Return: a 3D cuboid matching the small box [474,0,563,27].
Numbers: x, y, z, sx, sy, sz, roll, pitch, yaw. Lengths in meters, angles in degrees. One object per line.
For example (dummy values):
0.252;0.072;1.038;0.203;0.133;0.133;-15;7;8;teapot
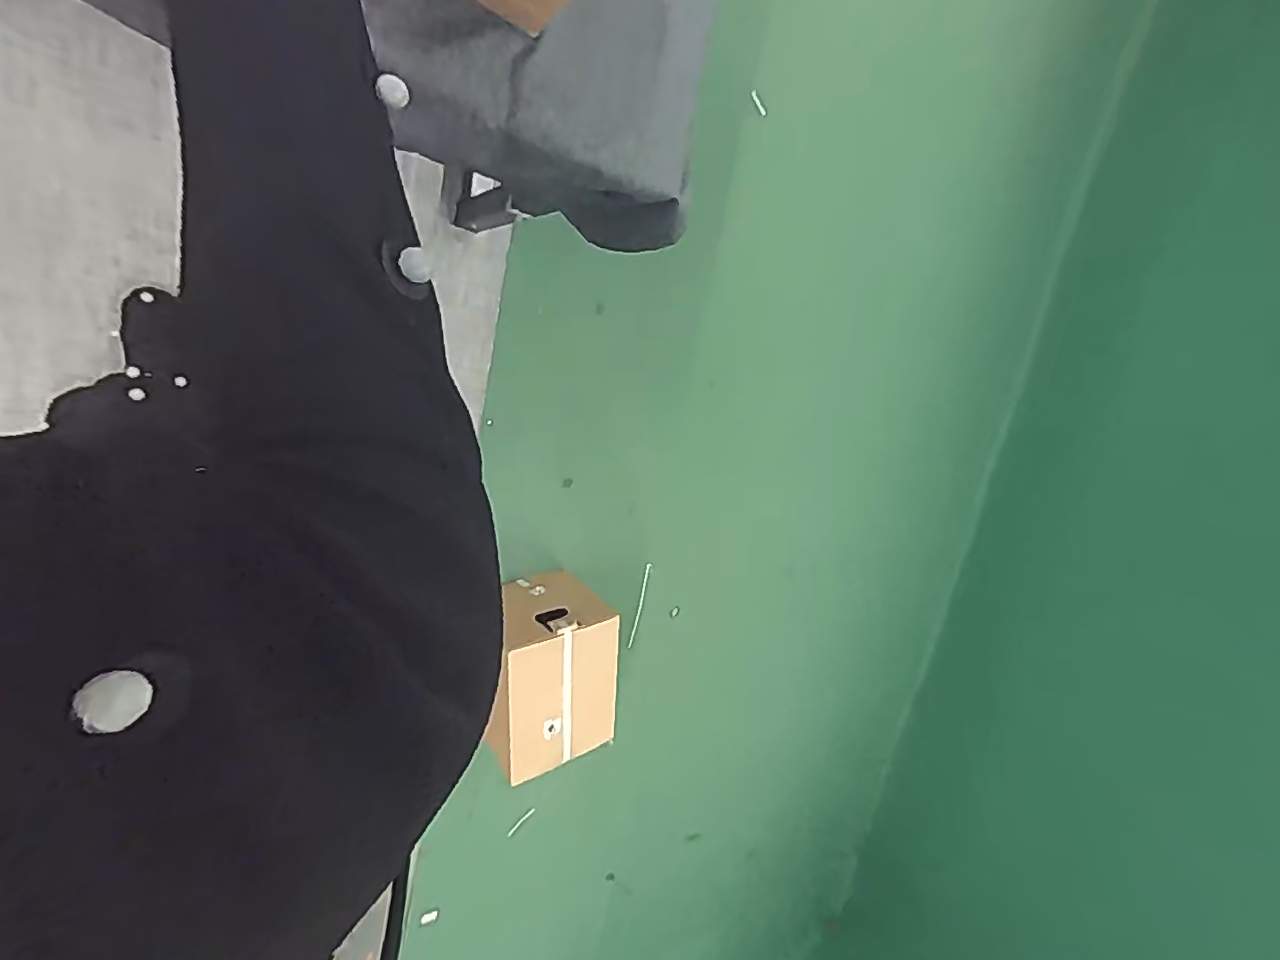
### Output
-0.112;-0.510;0.421;0.179;0.176;0.168;6;102;-38;small box
